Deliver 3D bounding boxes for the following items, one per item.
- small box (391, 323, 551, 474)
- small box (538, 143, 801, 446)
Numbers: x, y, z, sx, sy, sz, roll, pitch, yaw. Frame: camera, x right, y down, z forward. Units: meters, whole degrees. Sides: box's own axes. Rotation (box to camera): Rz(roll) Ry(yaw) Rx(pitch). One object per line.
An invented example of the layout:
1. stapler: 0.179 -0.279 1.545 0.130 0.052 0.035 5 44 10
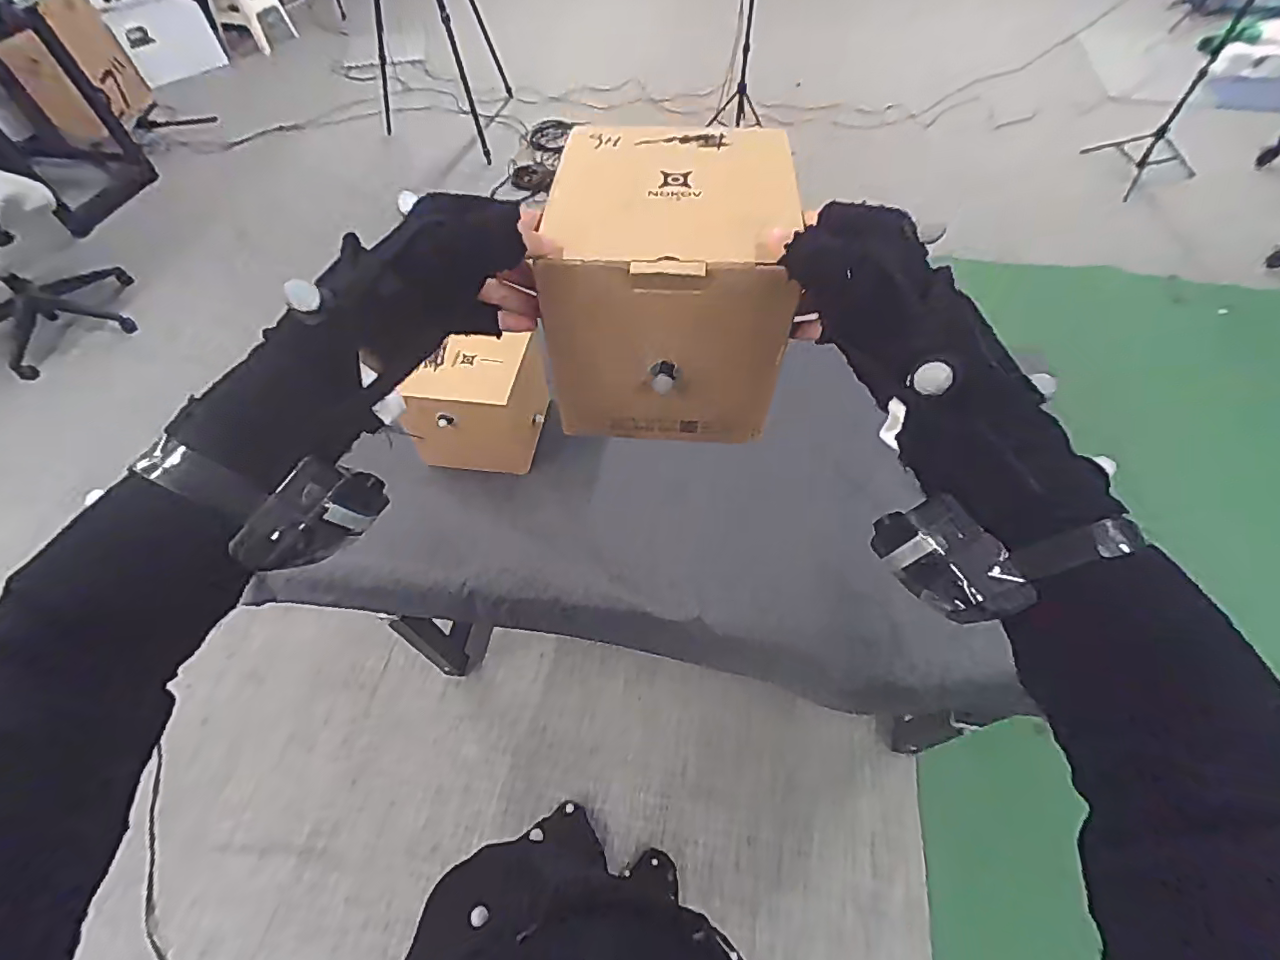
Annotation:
1. small box: -0.252 -0.124 0.857 0.179 0.176 0.168 6 56 4
2. small box: 0.026 -0.144 0.440 0.168 0.176 0.179 3 56 3
